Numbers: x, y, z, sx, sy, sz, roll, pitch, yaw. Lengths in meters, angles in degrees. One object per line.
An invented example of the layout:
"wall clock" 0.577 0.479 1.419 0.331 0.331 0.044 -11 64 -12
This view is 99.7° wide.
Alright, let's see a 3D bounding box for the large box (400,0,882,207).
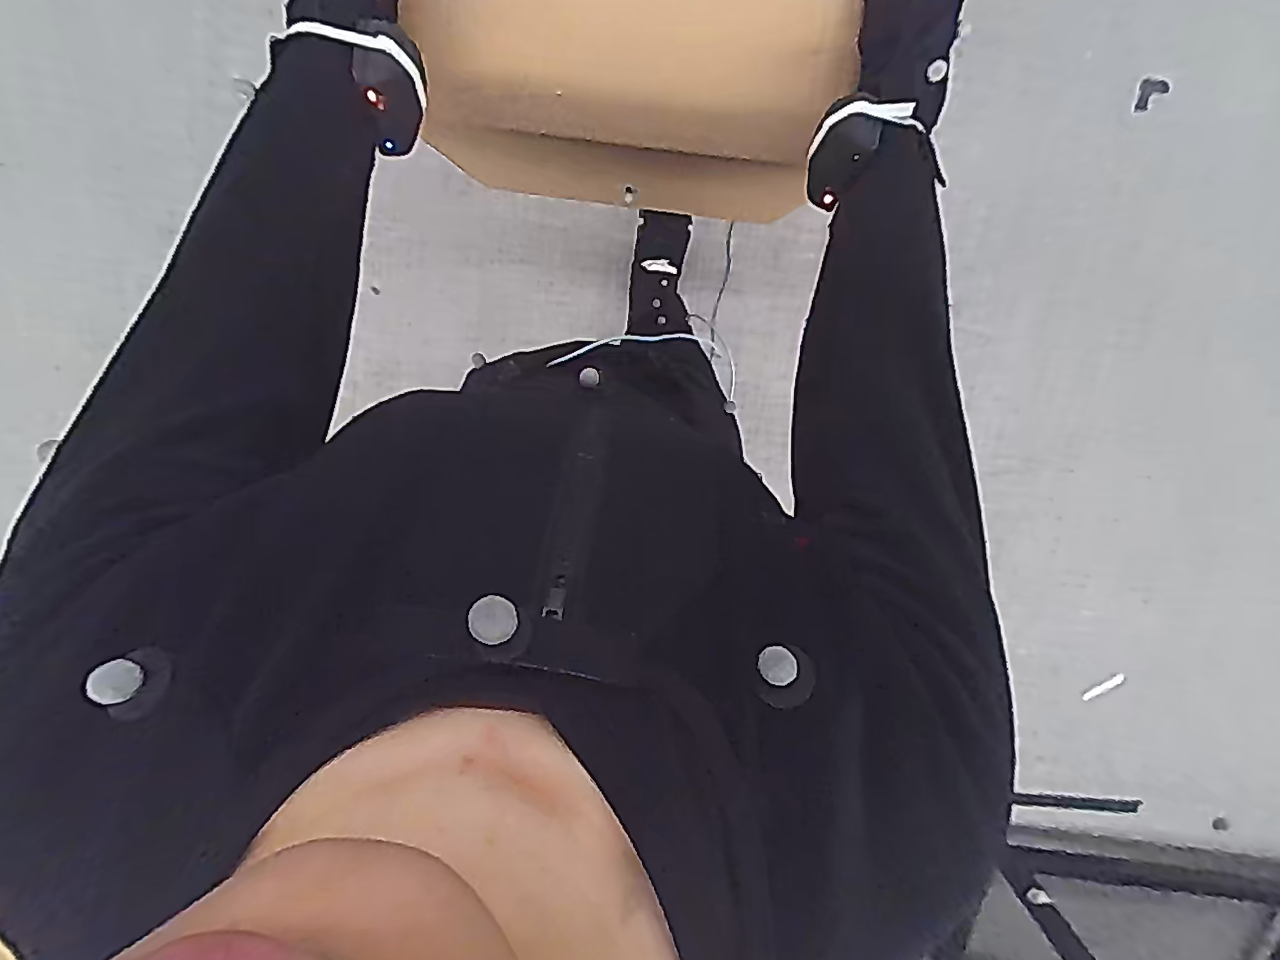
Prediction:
"large box" 0.007 -0.495 0.569 0.408 0.320 0.320 6 107 -2
